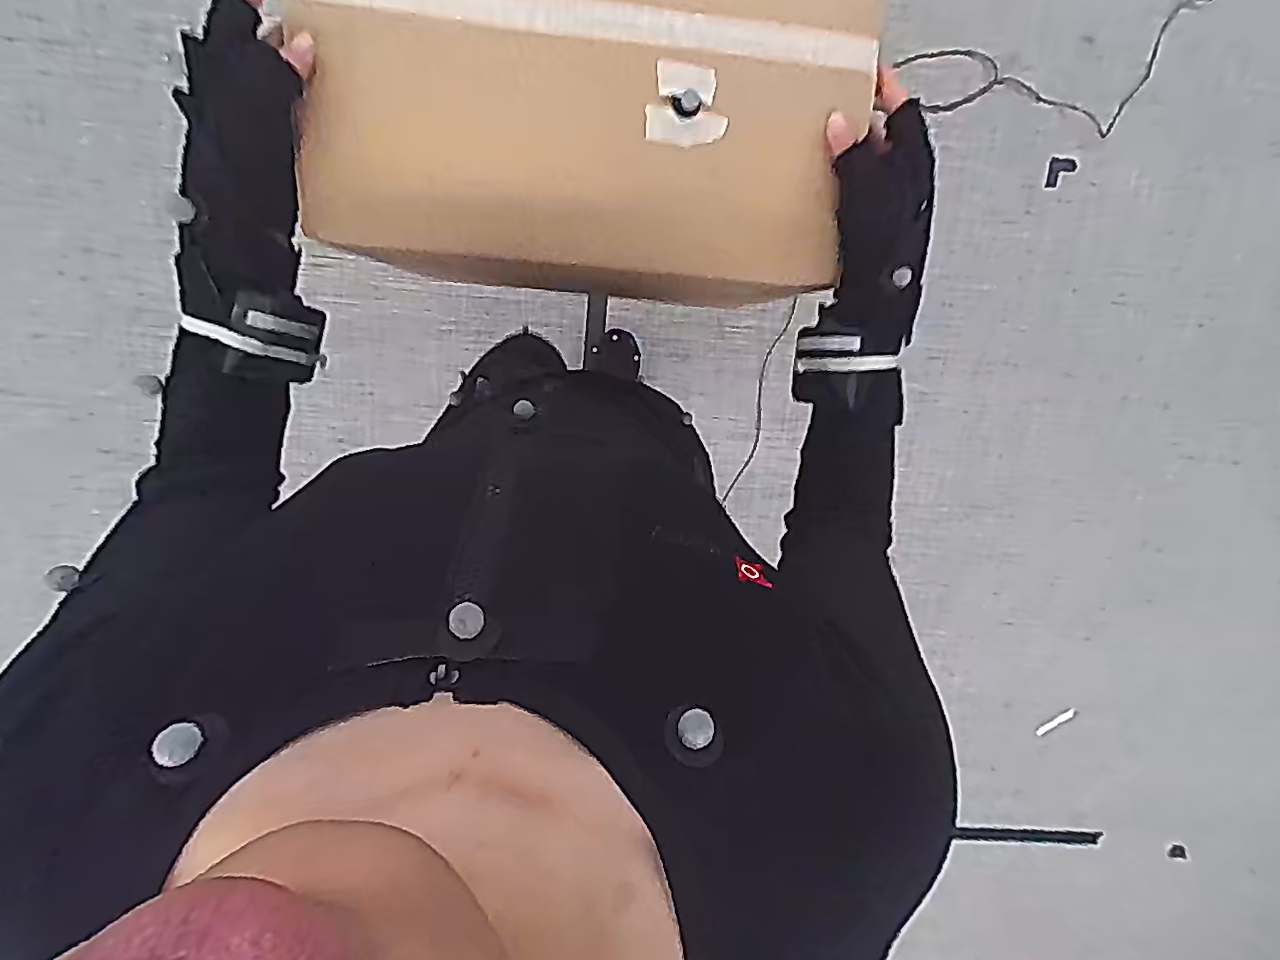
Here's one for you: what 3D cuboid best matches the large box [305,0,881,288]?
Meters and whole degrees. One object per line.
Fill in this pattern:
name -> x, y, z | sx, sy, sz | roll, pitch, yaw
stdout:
large box -> -0.040, -0.368, 0.518 | 0.408, 0.320, 0.320 | 2, 106, -6
